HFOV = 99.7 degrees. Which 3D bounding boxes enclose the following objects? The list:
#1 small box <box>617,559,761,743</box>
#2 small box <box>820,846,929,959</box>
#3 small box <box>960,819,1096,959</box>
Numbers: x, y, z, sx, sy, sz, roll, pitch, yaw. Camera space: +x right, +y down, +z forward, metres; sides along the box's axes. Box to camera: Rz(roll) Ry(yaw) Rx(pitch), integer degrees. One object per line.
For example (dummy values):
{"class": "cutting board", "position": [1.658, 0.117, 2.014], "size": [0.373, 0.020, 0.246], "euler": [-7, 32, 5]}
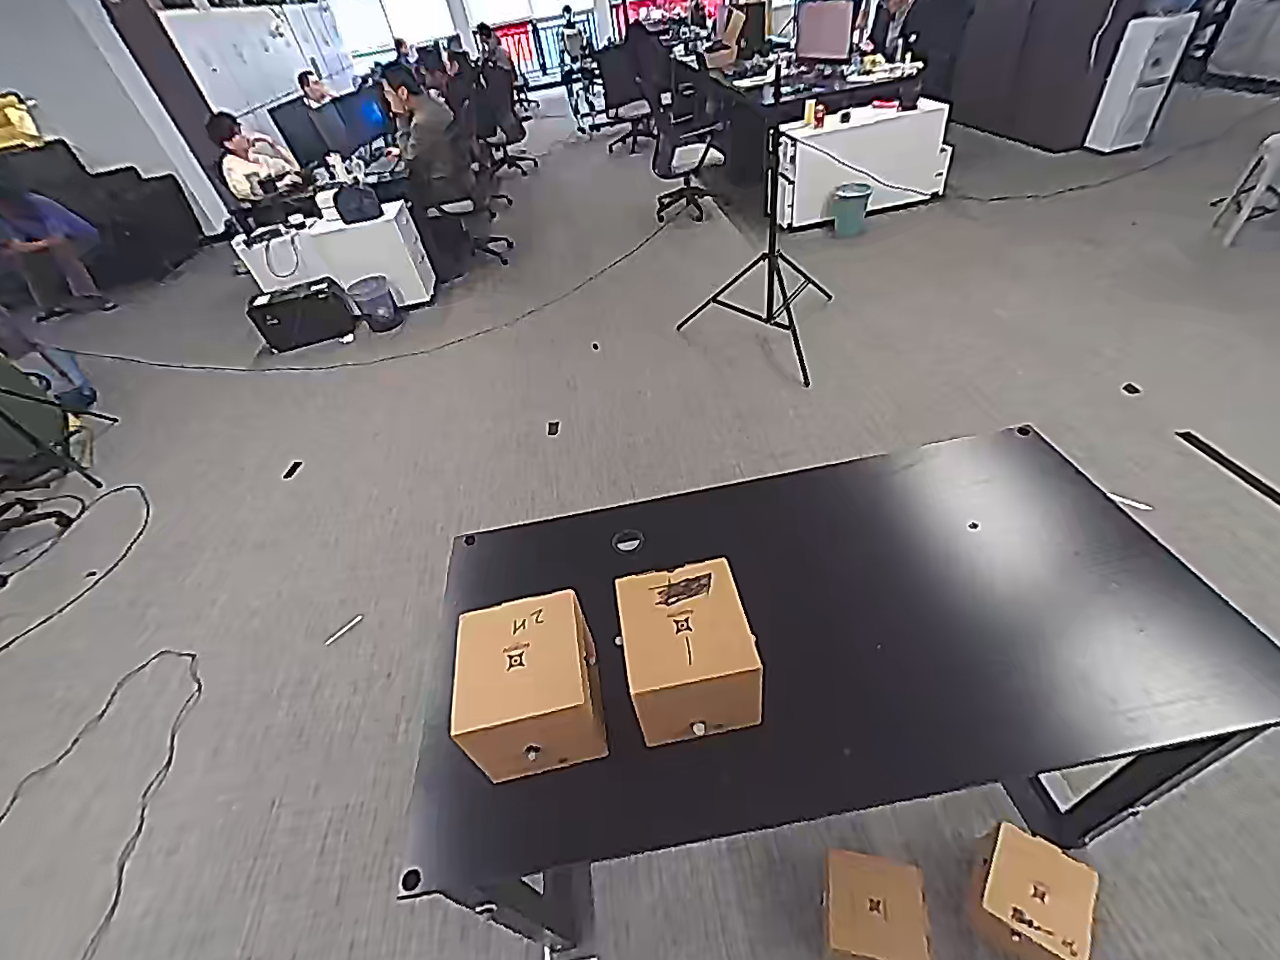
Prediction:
{"class": "small box", "position": [0.066, 0.243, 0.770], "size": [0.168, 0.176, 0.179], "euler": [-12, 43, 0]}
{"class": "small box", "position": [0.464, 0.875, 1.093], "size": [0.179, 0.176, 0.168], "euler": [3, 44, 16]}
{"class": "small box", "position": [0.764, 0.828, 1.076], "size": [0.168, 0.176, 0.179], "euler": [21, 52, 30]}
